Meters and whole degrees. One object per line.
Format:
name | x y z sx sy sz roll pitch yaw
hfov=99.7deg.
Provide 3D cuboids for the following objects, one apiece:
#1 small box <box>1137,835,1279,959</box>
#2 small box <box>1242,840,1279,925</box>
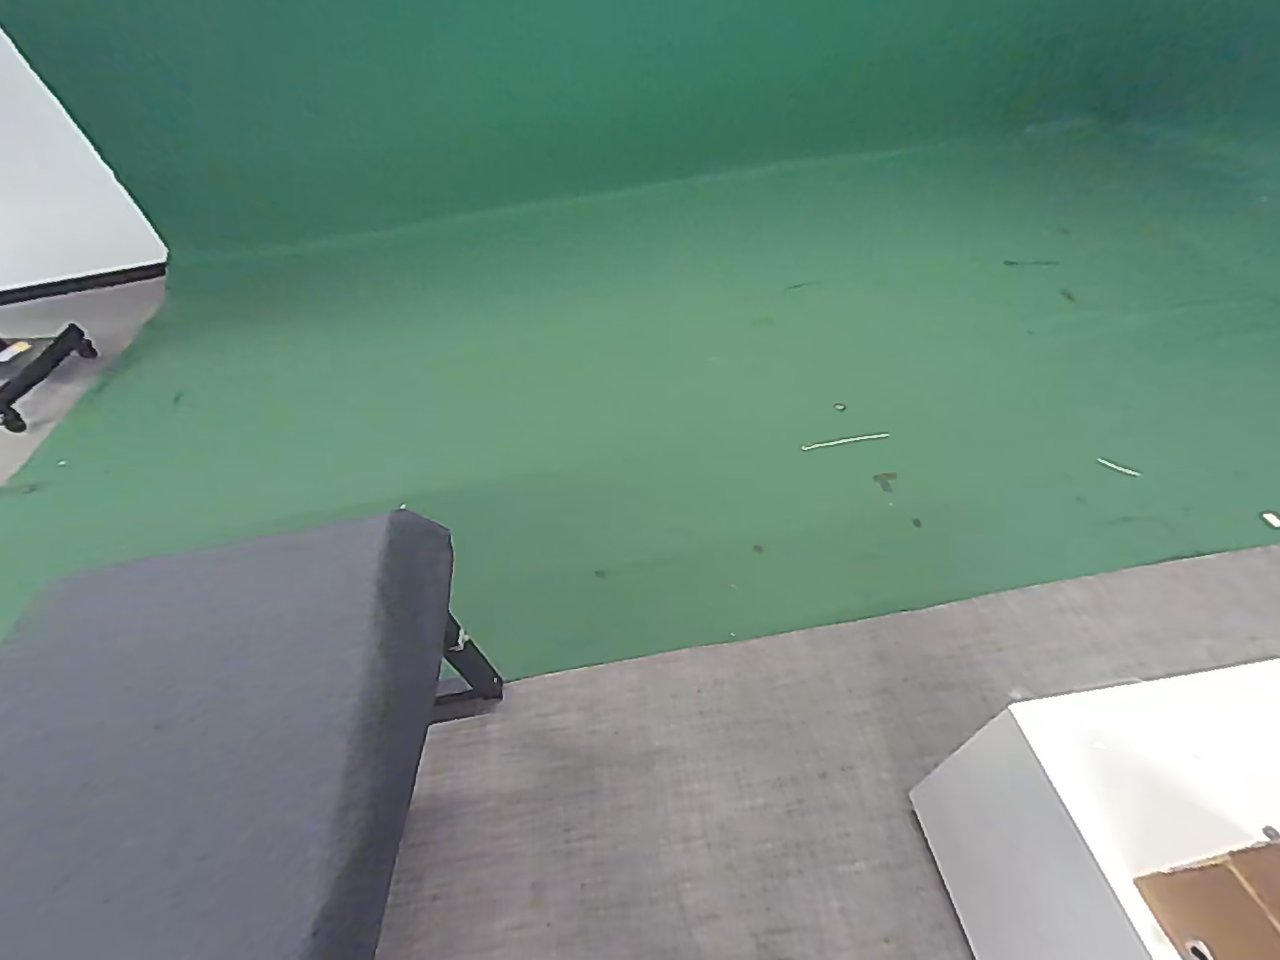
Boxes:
small box | 0.654 0.447 0.517 0.179 0.176 0.168 -14 48 -2
small box | 0.639 0.337 0.397 0.179 0.176 0.168 -14 48 -5
